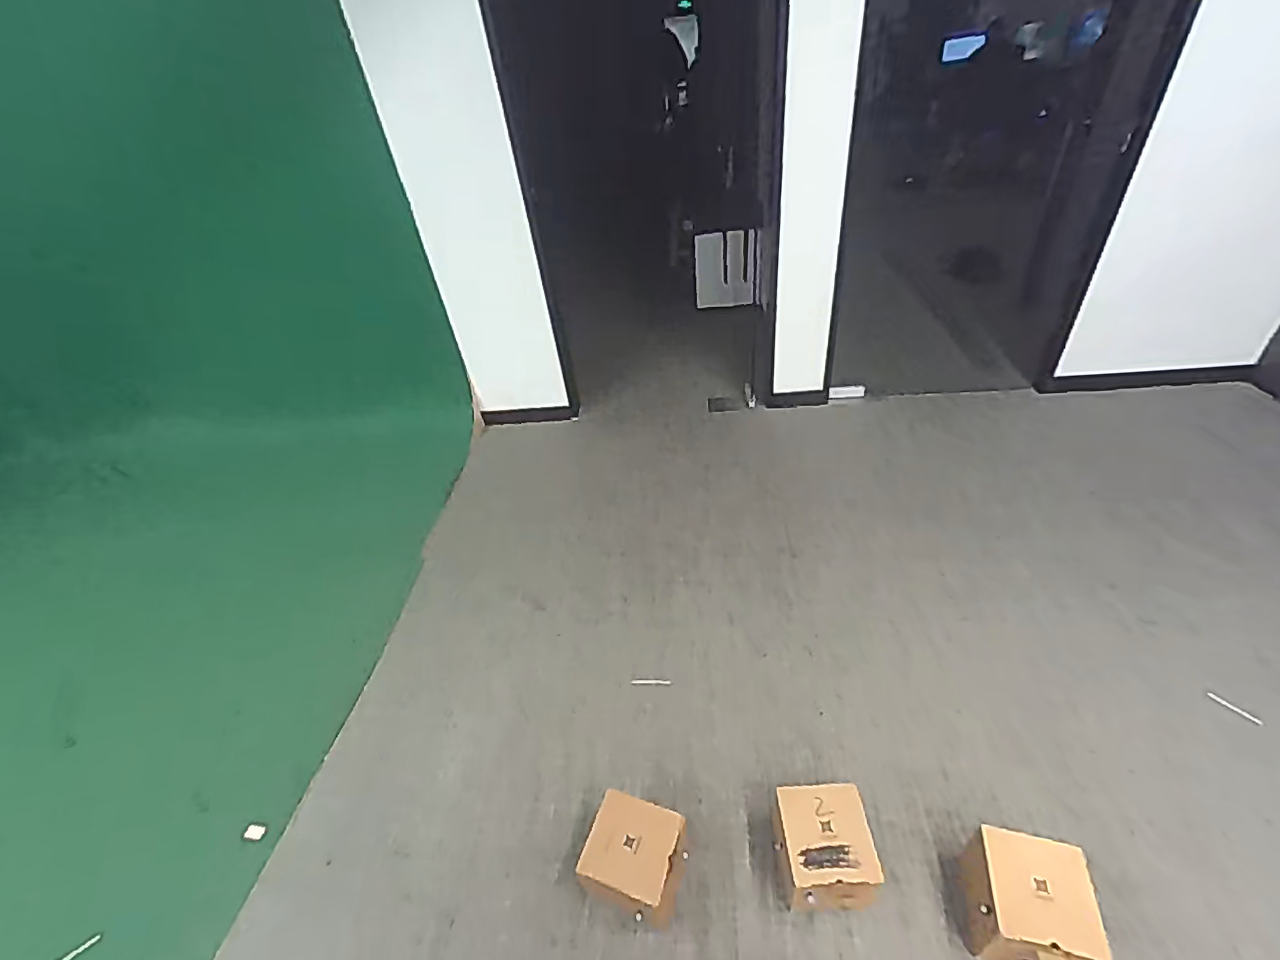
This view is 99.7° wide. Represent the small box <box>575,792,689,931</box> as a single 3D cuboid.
[{"bbox_3d":[-0.006,0.783,1.109,0.179,0.176,0.168,5,39,22],"label":"small box"}]

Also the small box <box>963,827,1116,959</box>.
[{"bbox_3d":[0.713,0.781,0.990,0.168,0.176,0.179,5,40,16],"label":"small box"}]
